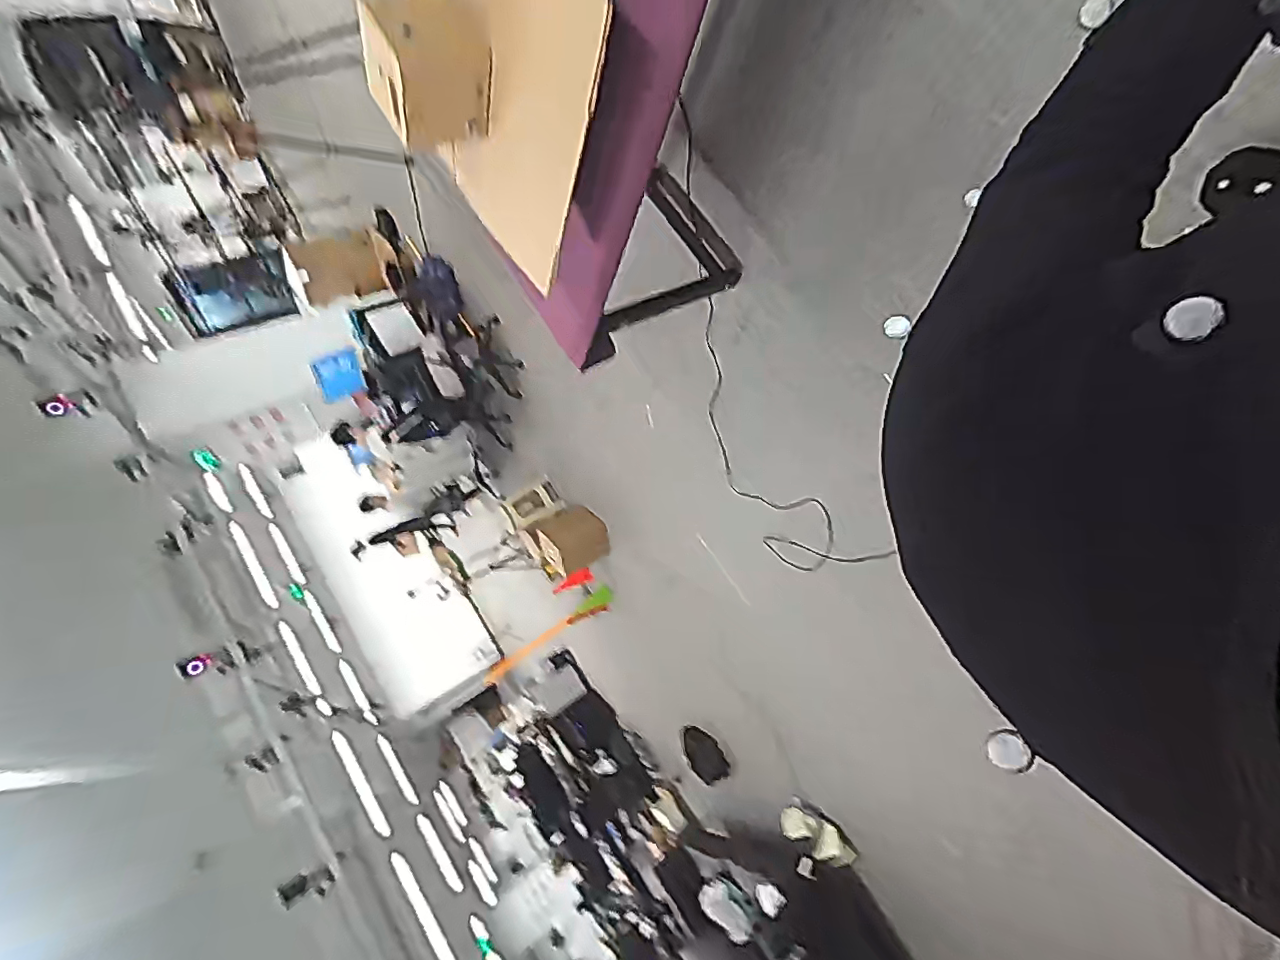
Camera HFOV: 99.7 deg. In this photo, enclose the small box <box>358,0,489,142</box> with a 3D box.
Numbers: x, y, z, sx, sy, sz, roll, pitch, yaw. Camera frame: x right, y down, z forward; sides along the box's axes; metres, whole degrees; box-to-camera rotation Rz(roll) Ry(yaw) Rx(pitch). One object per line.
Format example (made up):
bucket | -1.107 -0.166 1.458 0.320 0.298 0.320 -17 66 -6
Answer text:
small box | -0.399 -0.782 1.015 0.179 0.176 0.168 58 153 9
